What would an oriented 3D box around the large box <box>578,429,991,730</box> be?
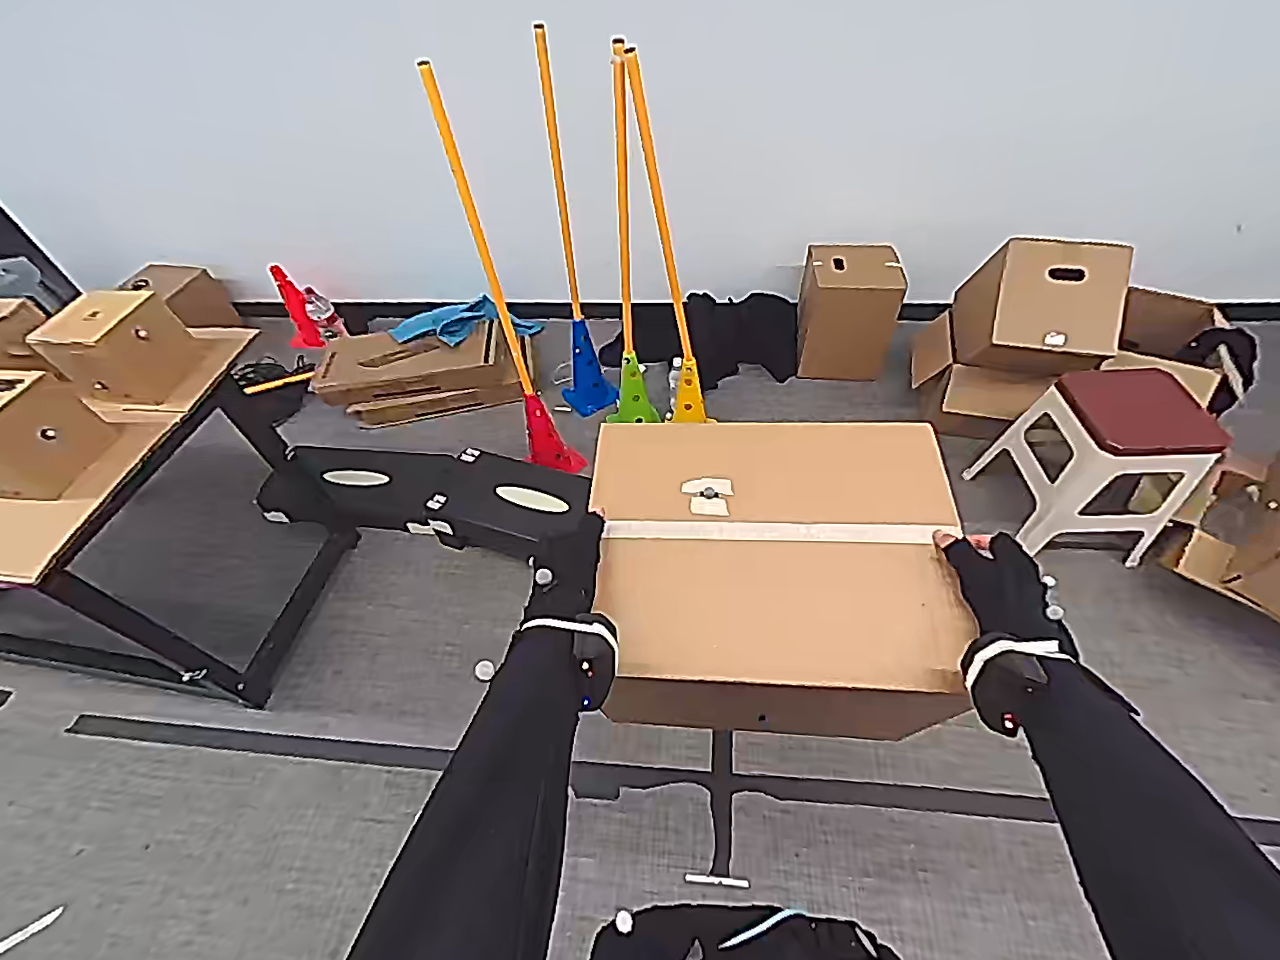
[{"bbox_3d":[0.157,0.147,0.728,0.408,0.320,0.320,0,57,7],"label":"large box"}]
